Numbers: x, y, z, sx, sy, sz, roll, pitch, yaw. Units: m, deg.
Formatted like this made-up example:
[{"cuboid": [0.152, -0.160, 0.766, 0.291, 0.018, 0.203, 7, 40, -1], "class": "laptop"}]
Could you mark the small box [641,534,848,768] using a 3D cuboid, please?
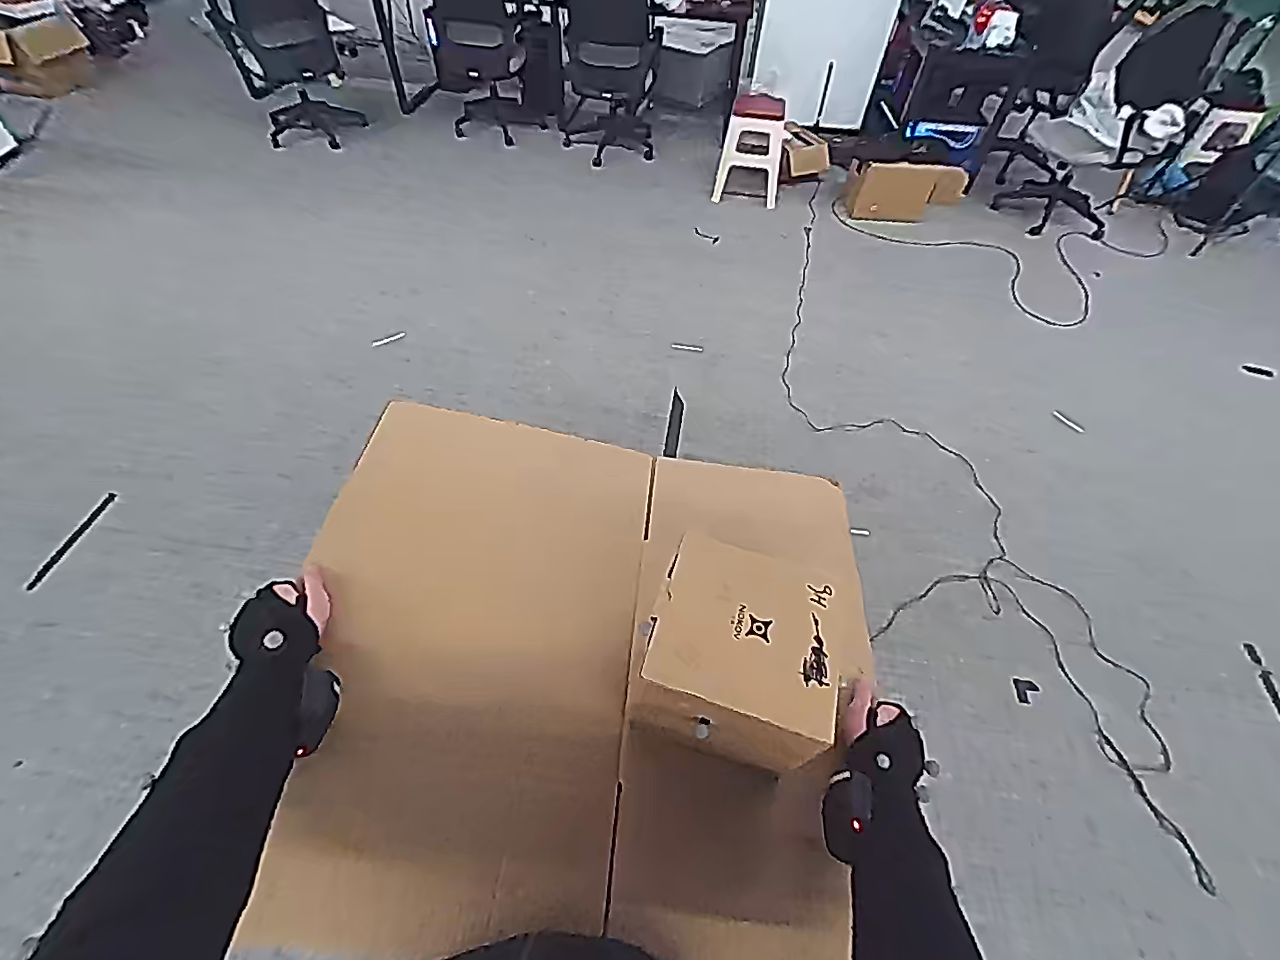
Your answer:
[{"cuboid": [0.105, 0.189, 0.587, 0.179, 0.176, 0.168, 16, 53, 8], "class": "small box"}]
